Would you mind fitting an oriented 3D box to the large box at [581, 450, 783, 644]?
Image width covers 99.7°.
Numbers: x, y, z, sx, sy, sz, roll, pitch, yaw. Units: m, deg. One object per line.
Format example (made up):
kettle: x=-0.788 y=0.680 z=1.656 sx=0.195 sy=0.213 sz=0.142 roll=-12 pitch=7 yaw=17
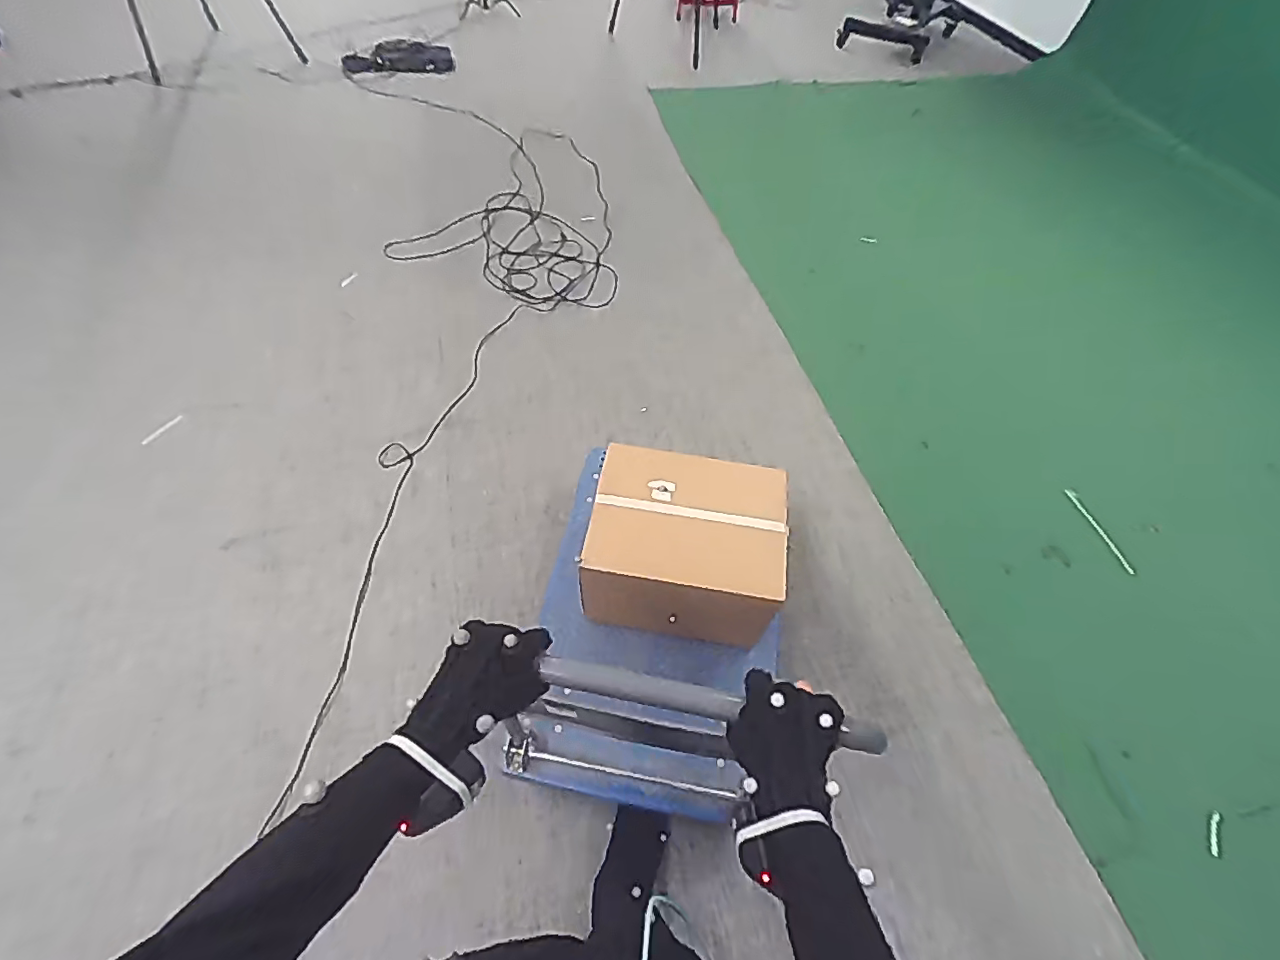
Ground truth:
large box: x=0.098 y=0.164 z=1.258 sx=0.408 sy=0.320 sz=0.320 roll=9 pitch=56 yaw=3
